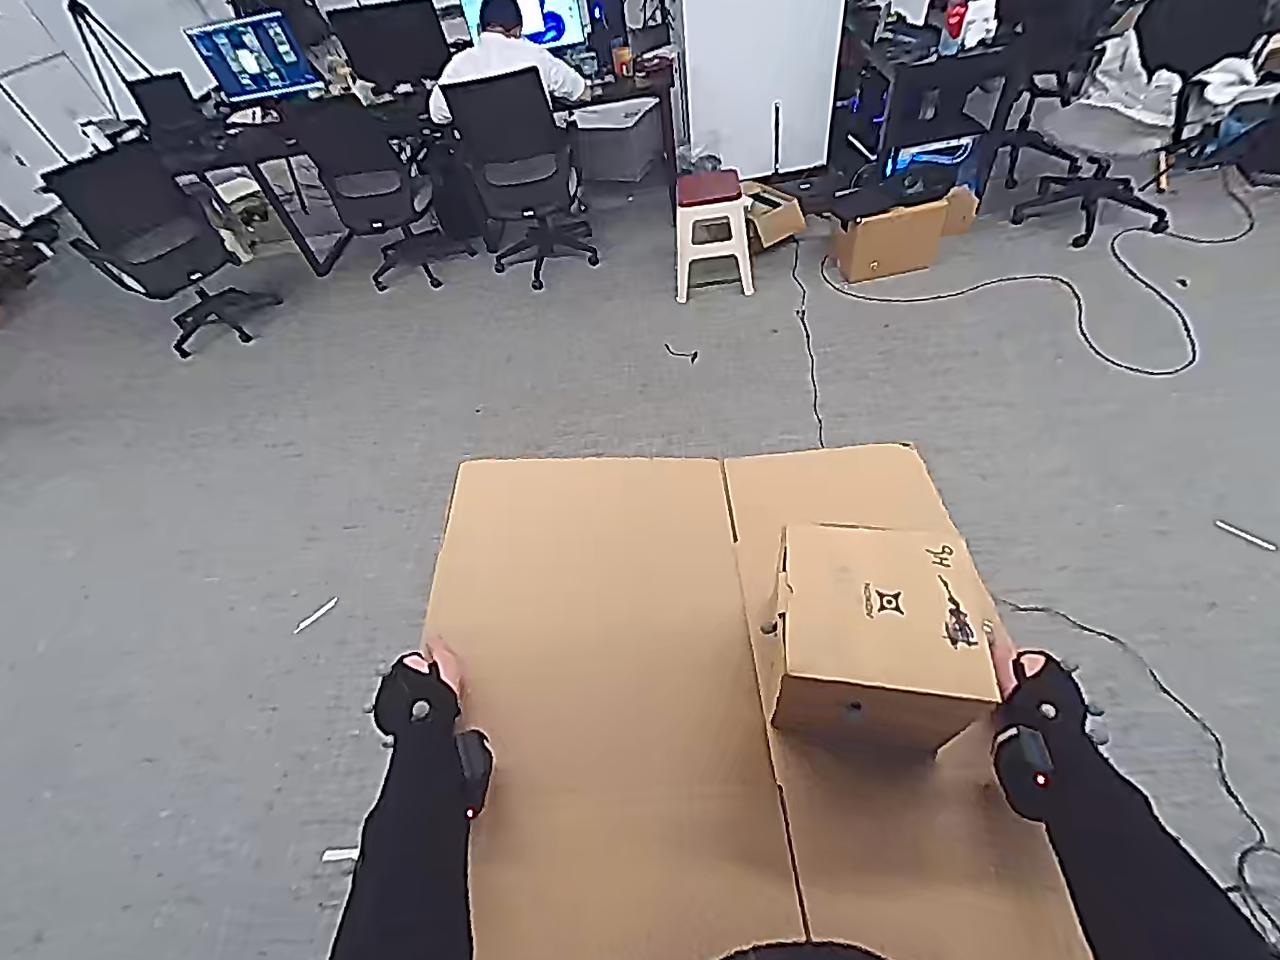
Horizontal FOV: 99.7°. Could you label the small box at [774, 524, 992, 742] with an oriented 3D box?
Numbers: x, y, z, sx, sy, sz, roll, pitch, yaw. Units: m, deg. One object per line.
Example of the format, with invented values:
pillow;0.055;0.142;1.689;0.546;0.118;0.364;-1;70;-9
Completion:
small box;0.237;0.165;0.579;0.179;0.176;0.168;3;52;12
